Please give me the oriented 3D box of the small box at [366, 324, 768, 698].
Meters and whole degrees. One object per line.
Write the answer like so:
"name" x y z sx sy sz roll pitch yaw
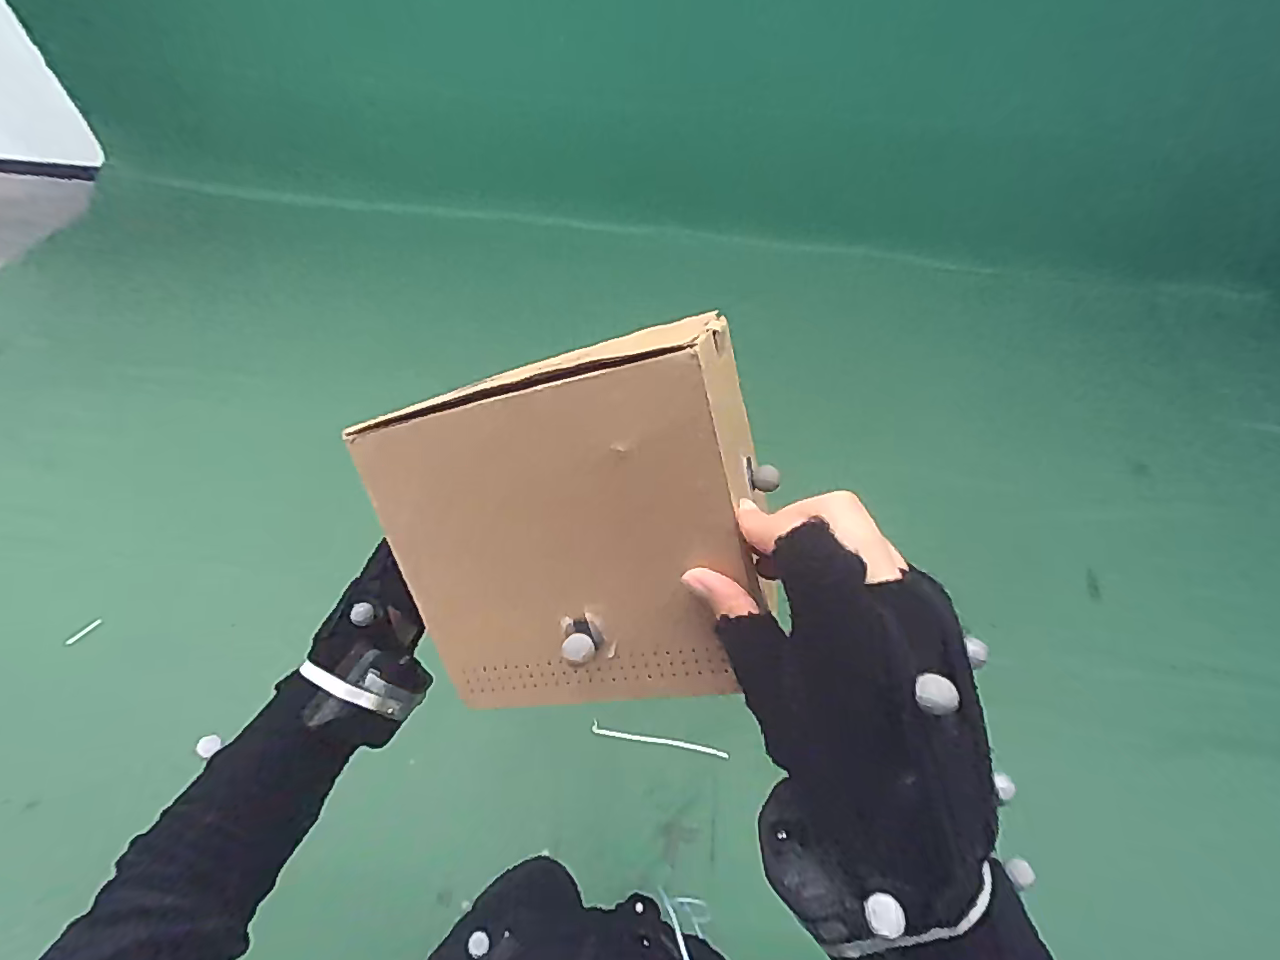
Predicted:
"small box" -0.019 0.013 0.340 0.179 0.176 0.168 -11 17 16
